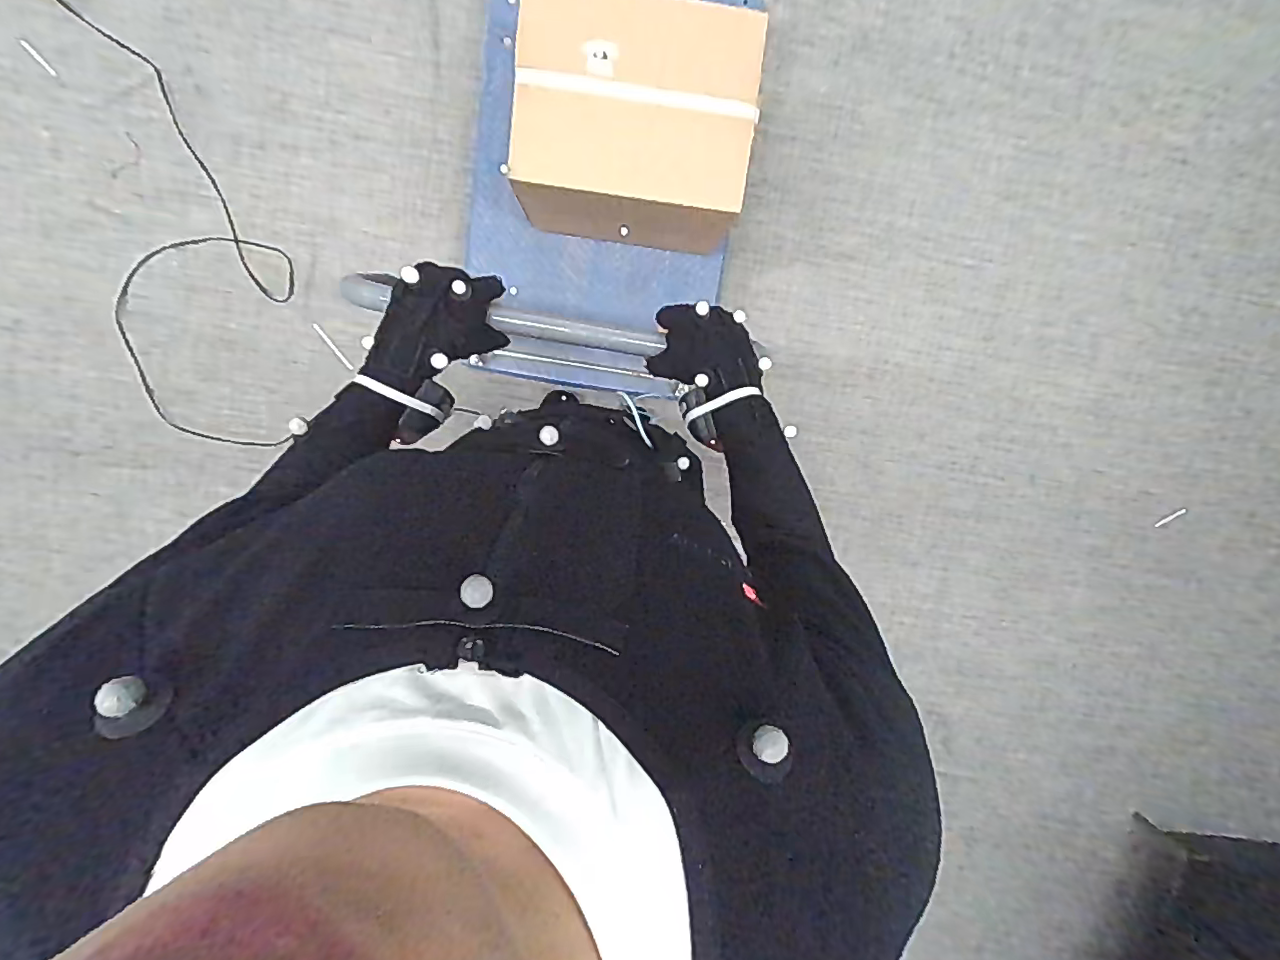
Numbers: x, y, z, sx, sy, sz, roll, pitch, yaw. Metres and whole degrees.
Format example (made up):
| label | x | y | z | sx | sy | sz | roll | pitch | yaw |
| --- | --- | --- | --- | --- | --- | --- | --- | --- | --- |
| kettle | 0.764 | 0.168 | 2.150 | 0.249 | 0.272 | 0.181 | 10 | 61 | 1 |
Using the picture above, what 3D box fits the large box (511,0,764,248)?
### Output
| label | x | y | z | sx | sy | sz | roll | pitch | yaw |
| --- | --- | --- | --- | --- | --- | --- | --- | --- | --- |
| large box | -0.009 | -0.668 | 1.052 | 0.408 | 0.320 | 0.320 | 7 | 99 | -3 |
